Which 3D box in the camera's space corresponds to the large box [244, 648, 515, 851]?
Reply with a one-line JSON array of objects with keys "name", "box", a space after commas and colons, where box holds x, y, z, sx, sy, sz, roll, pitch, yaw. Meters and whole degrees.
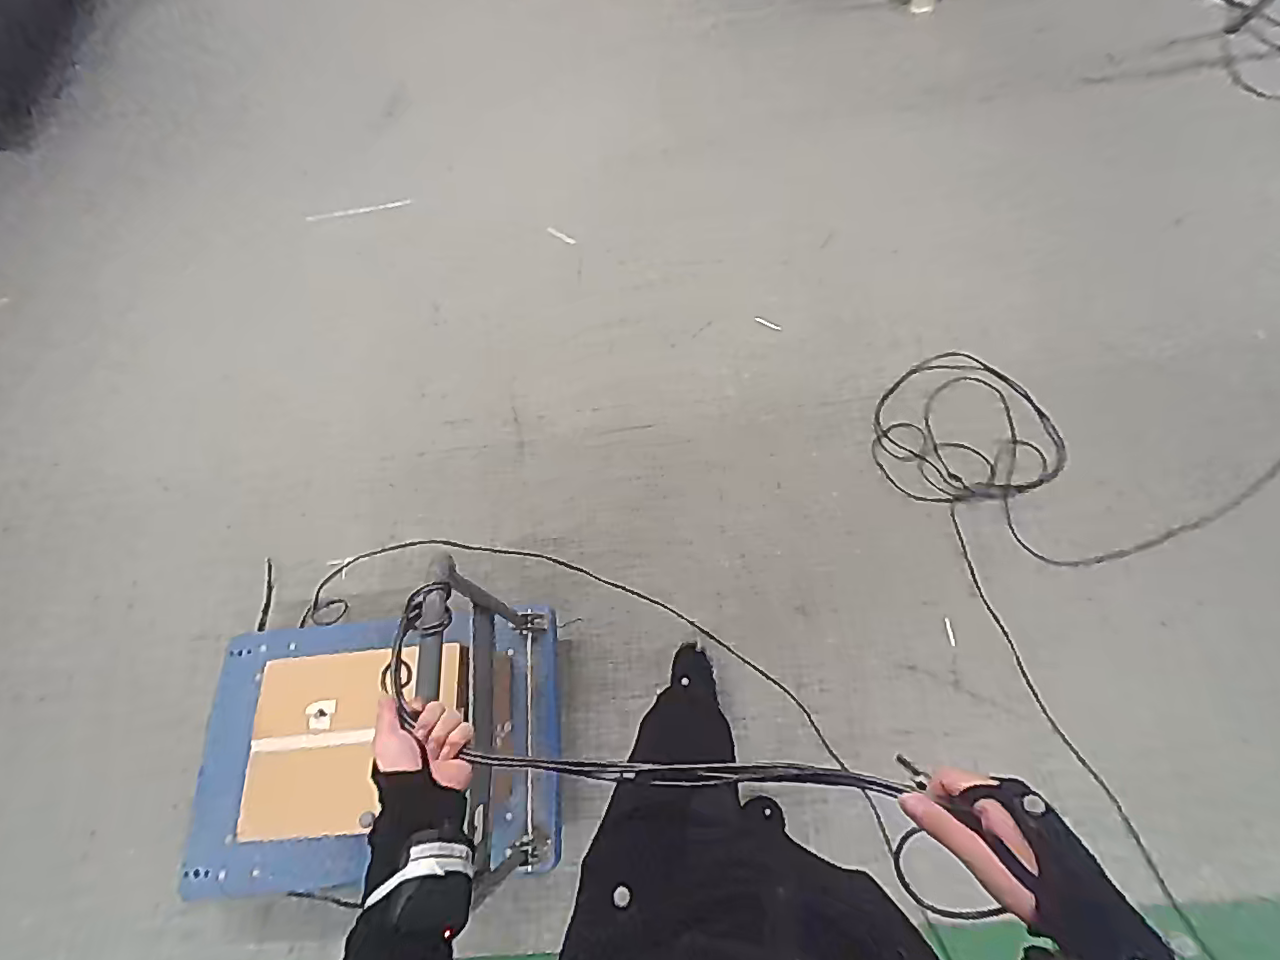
[{"name": "large box", "box": [-0.505, 0.550, 1.141, 0.408, 0.320, 0.320, -7, 66, 5]}]
